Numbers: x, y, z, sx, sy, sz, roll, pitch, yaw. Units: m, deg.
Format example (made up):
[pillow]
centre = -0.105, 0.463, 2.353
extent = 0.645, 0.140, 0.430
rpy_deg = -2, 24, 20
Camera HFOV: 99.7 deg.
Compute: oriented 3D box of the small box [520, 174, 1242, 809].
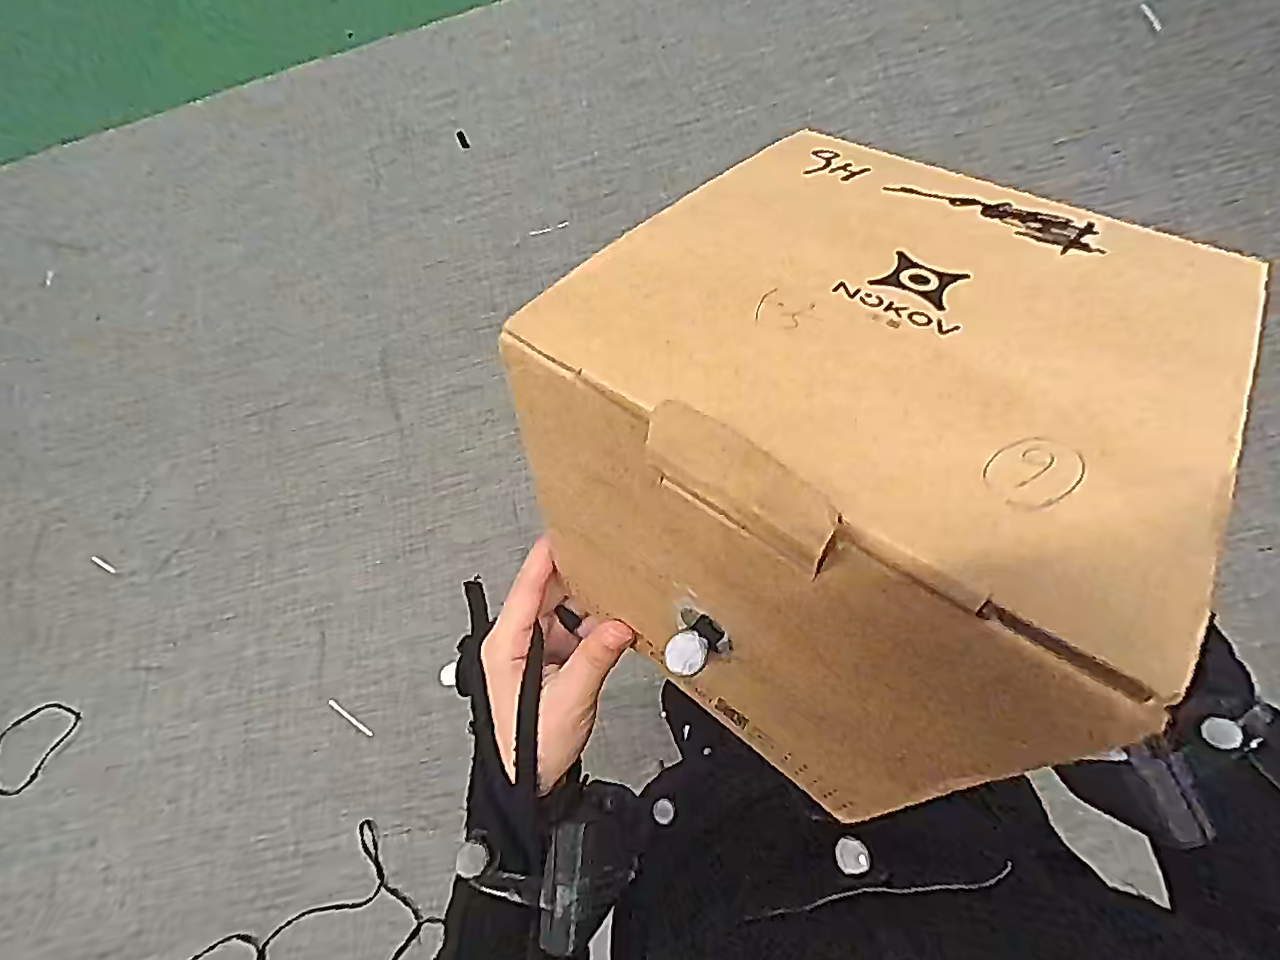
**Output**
[small box]
centre = 0.080, 0.007, 0.234
extent = 0.168, 0.176, 0.179
rpy_deg = 33, 60, 22
